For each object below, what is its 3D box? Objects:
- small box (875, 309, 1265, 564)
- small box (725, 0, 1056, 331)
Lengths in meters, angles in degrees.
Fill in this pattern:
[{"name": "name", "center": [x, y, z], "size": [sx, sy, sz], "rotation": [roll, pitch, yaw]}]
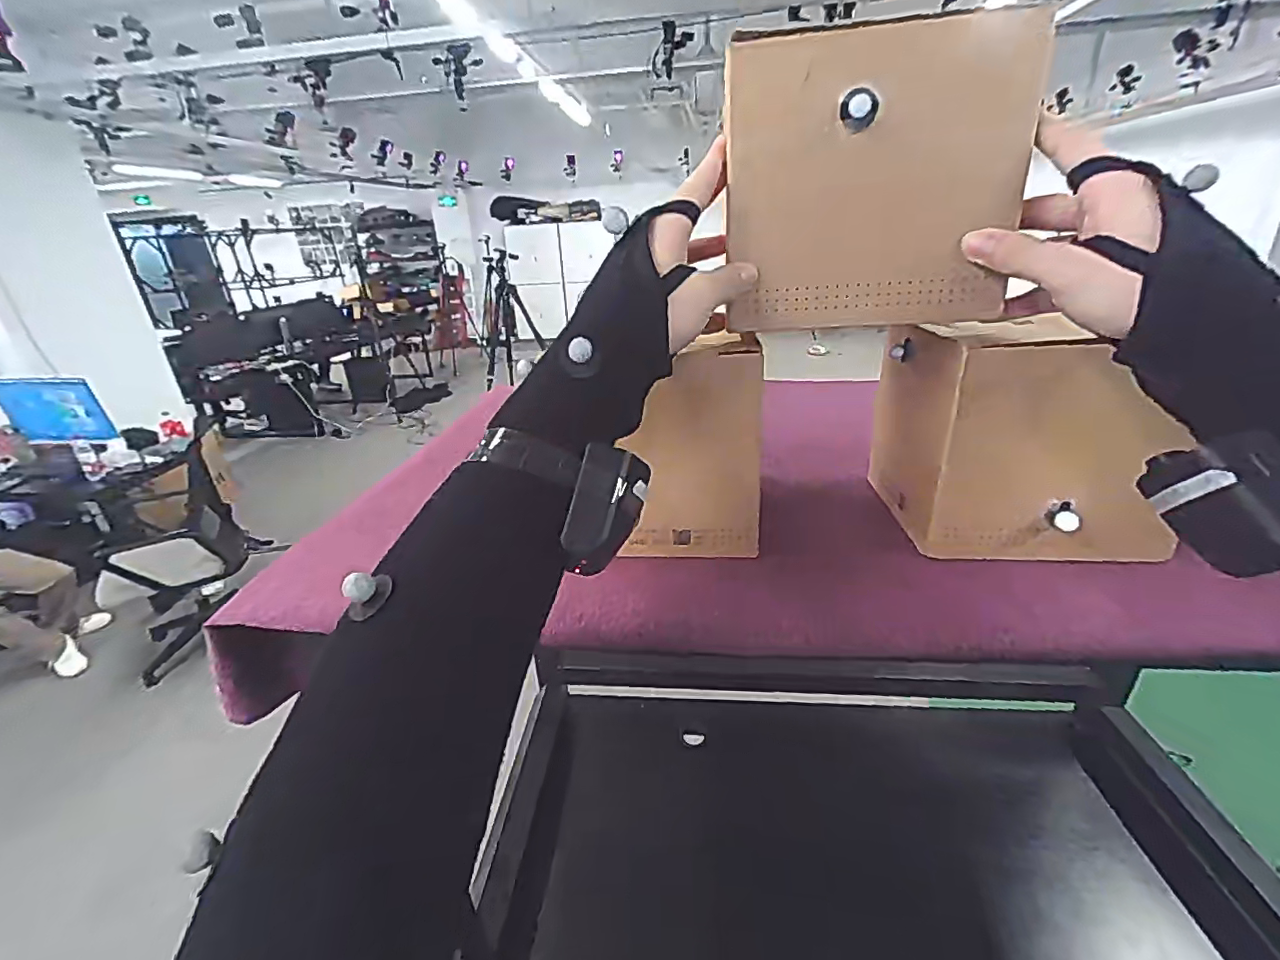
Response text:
[{"name": "small box", "center": [0.313, -0.043, 0.446], "size": [0.179, 0.176, 0.168], "rotation": [0, 23, 7]}, {"name": "small box", "center": [0.153, -0.204, 0.398], "size": [0.179, 0.176, 0.168], "rotation": [0, 21, 8]}]
